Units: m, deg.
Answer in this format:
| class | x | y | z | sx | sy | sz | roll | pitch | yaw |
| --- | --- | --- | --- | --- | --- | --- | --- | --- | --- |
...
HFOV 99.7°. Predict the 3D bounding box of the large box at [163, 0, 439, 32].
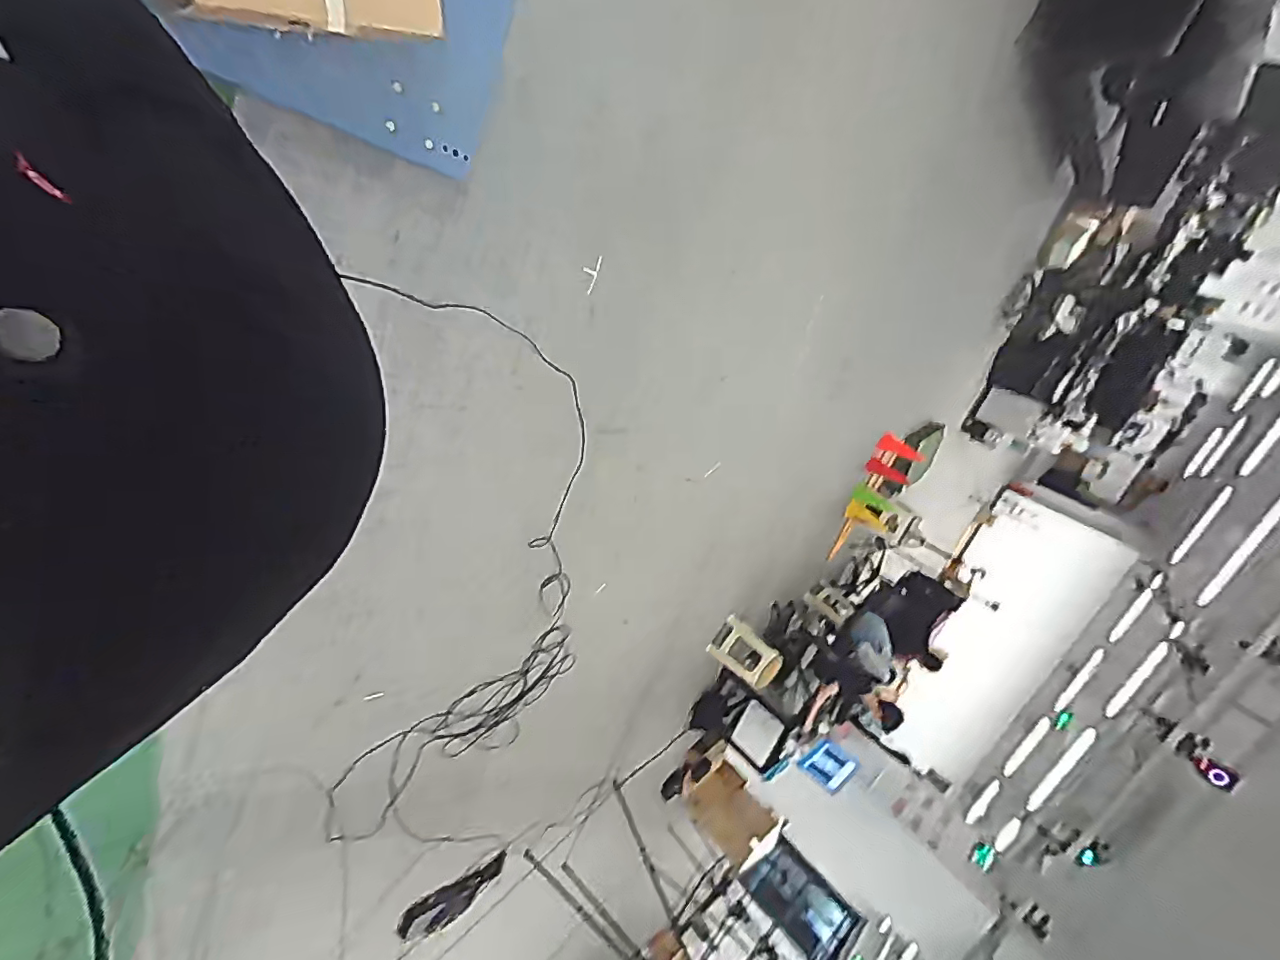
| class | x | y | z | sx | sy | sz | roll | pitch | yaw |
| --- | --- | --- | --- | --- | --- | --- | --- | --- | --- |
| large box | -0.502 | -0.855 | 0.700 | 0.320 | 0.320 | 0.408 | -25 | 134 | -35 |
